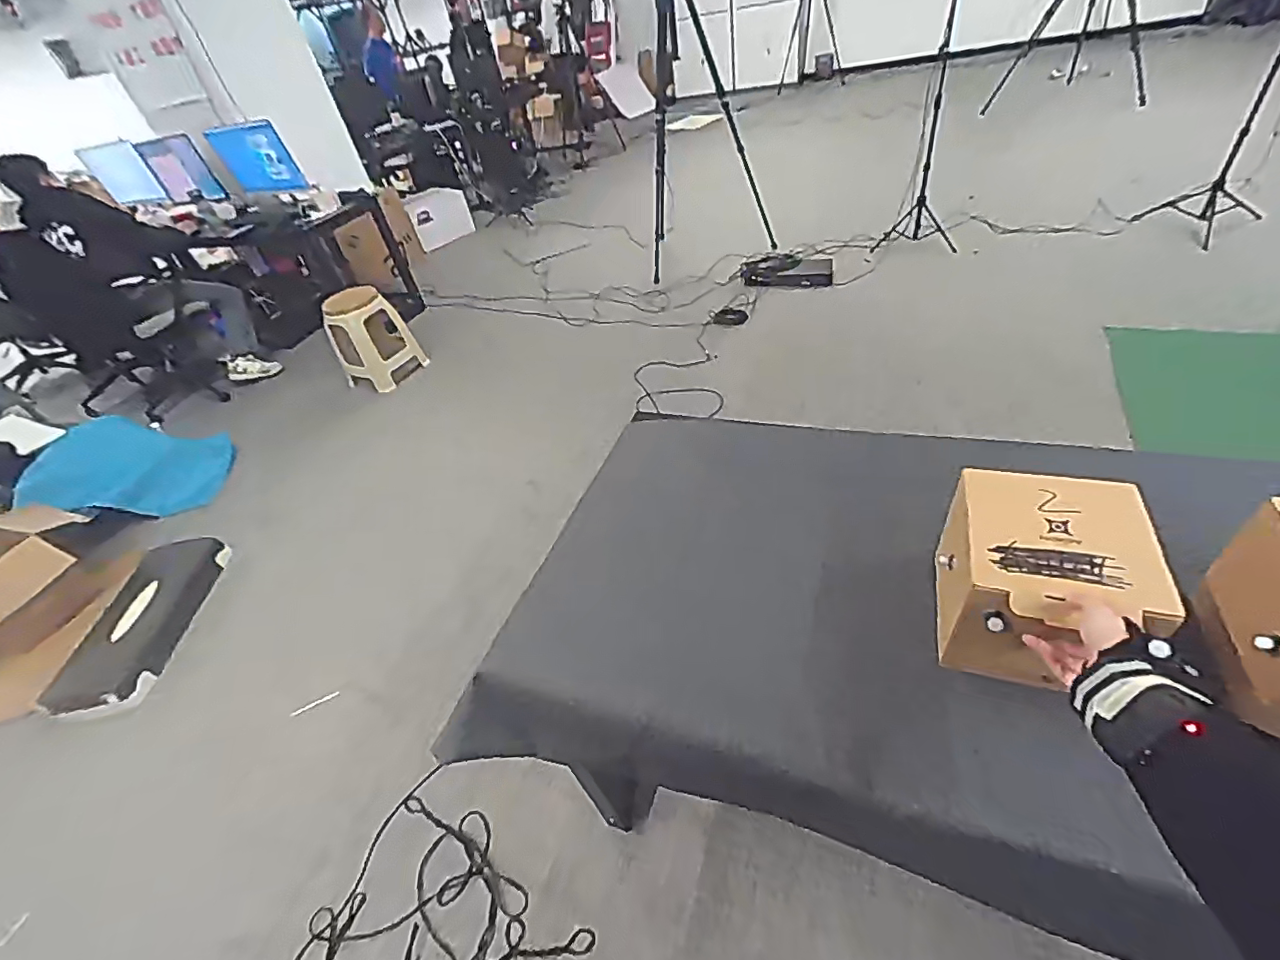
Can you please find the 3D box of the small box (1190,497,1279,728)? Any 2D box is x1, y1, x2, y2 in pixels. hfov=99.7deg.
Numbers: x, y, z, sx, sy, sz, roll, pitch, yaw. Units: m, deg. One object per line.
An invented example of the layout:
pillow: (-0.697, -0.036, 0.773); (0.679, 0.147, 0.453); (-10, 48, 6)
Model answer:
small box: (0.694, 0.143, 0.516); (0.168, 0.176, 0.179); (8, 44, 20)
